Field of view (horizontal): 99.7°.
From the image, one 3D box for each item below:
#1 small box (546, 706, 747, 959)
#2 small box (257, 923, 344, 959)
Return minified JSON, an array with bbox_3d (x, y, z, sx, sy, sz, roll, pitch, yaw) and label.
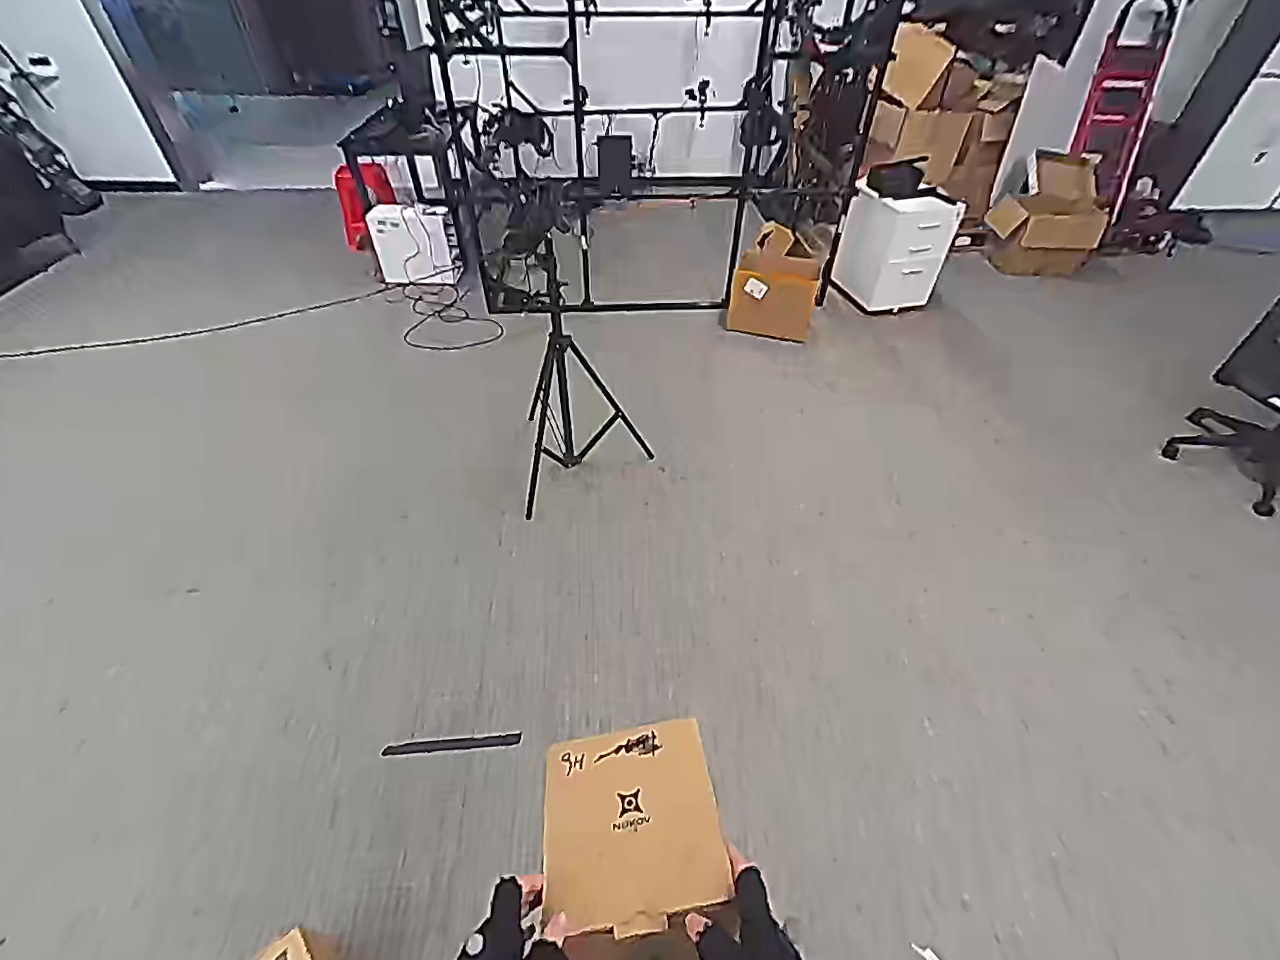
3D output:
[{"bbox_3d":[0.007,0.369,0.548,0.168,0.176,0.179,-11,33,-1],"label":"small box"},{"bbox_3d":[-0.666,1.007,1.031,0.168,0.176,0.179,-33,55,-30],"label":"small box"}]
